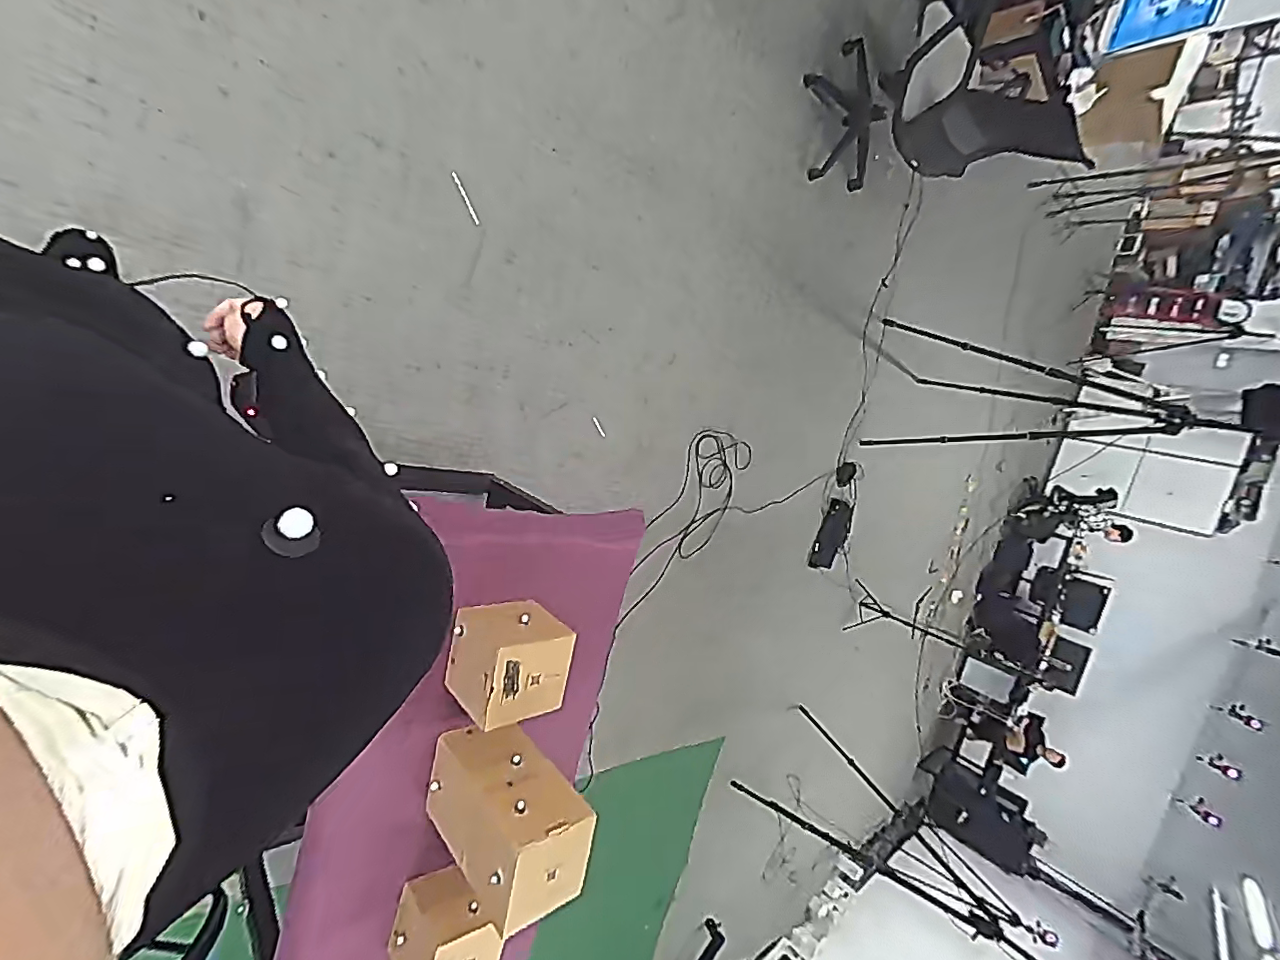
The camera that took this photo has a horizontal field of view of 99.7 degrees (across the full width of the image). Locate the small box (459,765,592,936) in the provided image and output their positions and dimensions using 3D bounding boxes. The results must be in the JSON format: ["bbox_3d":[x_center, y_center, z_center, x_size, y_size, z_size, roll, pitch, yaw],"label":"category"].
[{"bbox_3d":[-0.216,0.663,1.001,0.168,0.176,0.179,4,102,-43],"label":"small box"}]

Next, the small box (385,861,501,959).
[{"bbox_3d":[-0.413,0.956,1.155,0.179,0.176,0.168,13,96,-45],"label":"small box"}]

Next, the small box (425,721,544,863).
[{"bbox_3d":[-0.326,0.623,1.116,0.168,0.176,0.179,4,103,-45],"label":"small box"}]

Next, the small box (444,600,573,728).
[{"bbox_3d":[-0.264,0.351,1.071,0.179,0.176,0.168,4,103,-45],"label":"small box"}]
